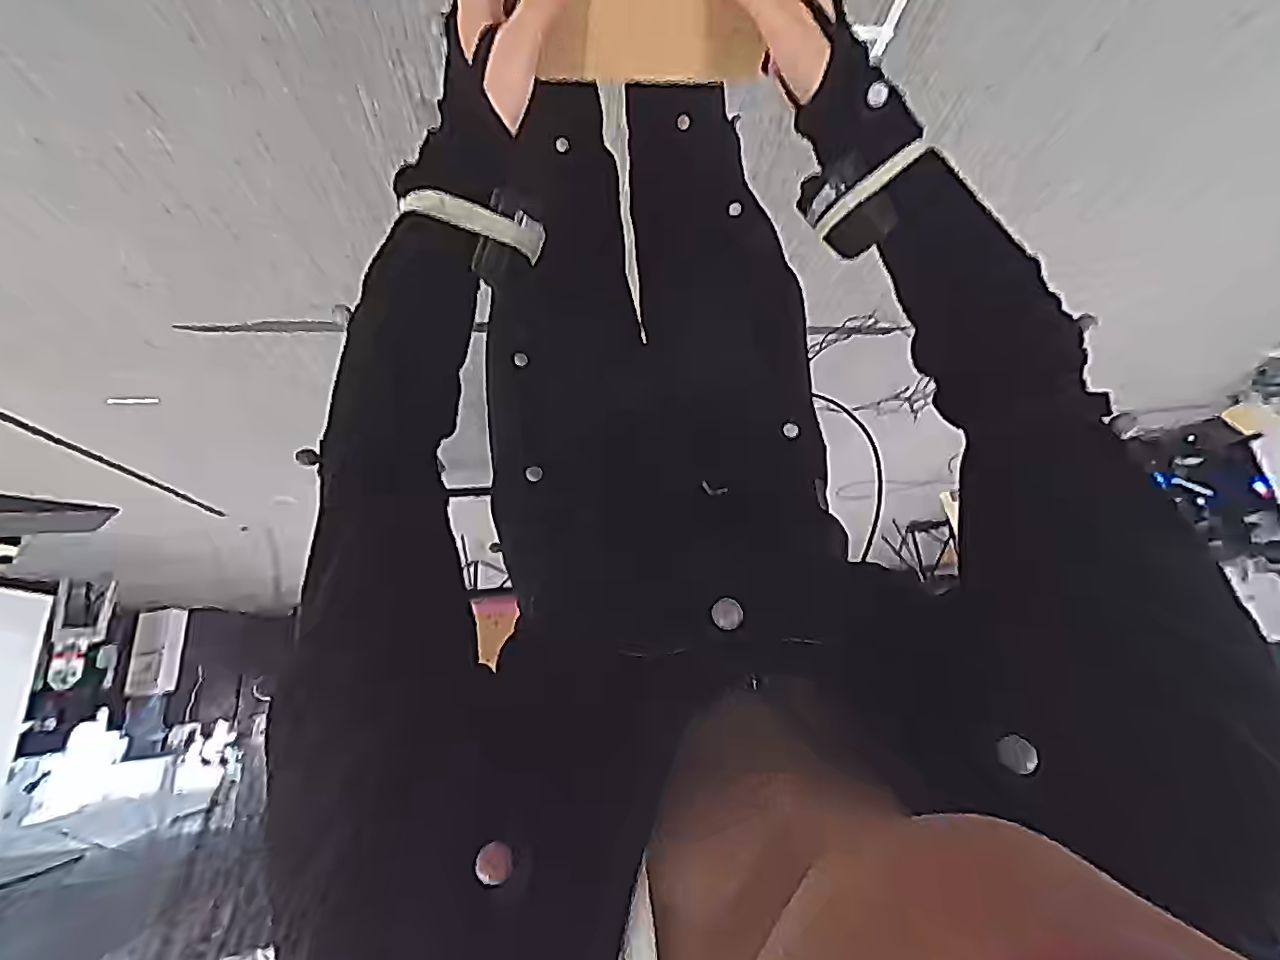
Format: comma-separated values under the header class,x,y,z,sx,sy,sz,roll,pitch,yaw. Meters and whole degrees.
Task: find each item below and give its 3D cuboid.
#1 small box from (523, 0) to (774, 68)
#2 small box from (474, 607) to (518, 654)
class,x,y,z,sx,sy,sz,roll,pitch,yaw
small box,0.002,-0.402,0.335,0.168,0.176,0.179,-6,157,-9
small box,-0.584,0.610,2.193,0.168,0.176,0.179,-2,161,-15
